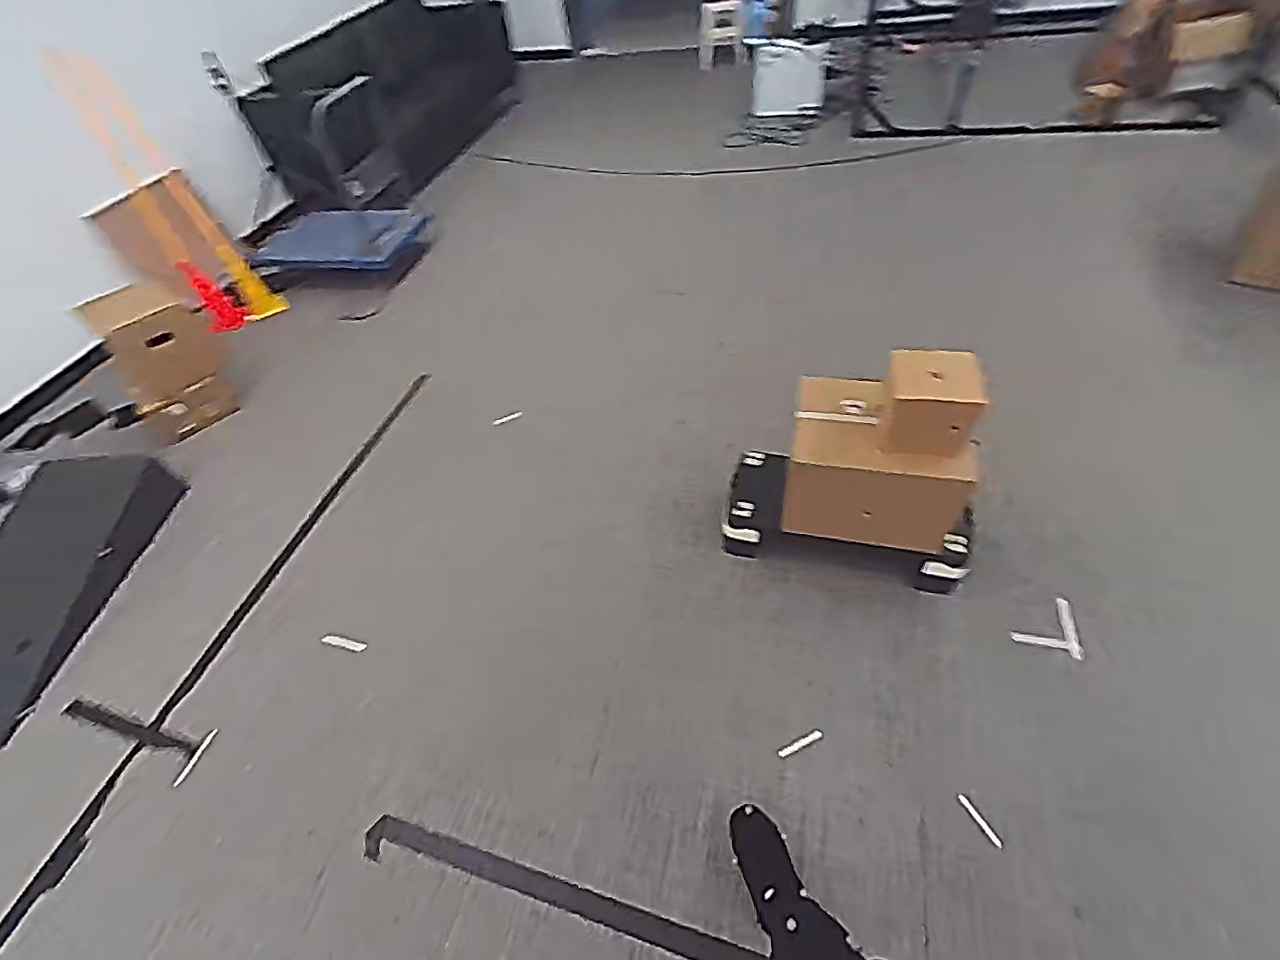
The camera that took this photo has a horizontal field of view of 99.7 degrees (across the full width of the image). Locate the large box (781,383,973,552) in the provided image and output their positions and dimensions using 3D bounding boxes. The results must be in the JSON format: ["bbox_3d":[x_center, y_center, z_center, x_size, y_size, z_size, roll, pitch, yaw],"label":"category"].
[{"bbox_3d":[0.599,-0.034,1.438,0.408,0.320,0.320,6,51,15],"label":"large box"}]

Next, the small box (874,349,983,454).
[{"bbox_3d":[0.642,-0.175,1.226,0.179,0.176,0.168,5,52,14],"label":"small box"}]
